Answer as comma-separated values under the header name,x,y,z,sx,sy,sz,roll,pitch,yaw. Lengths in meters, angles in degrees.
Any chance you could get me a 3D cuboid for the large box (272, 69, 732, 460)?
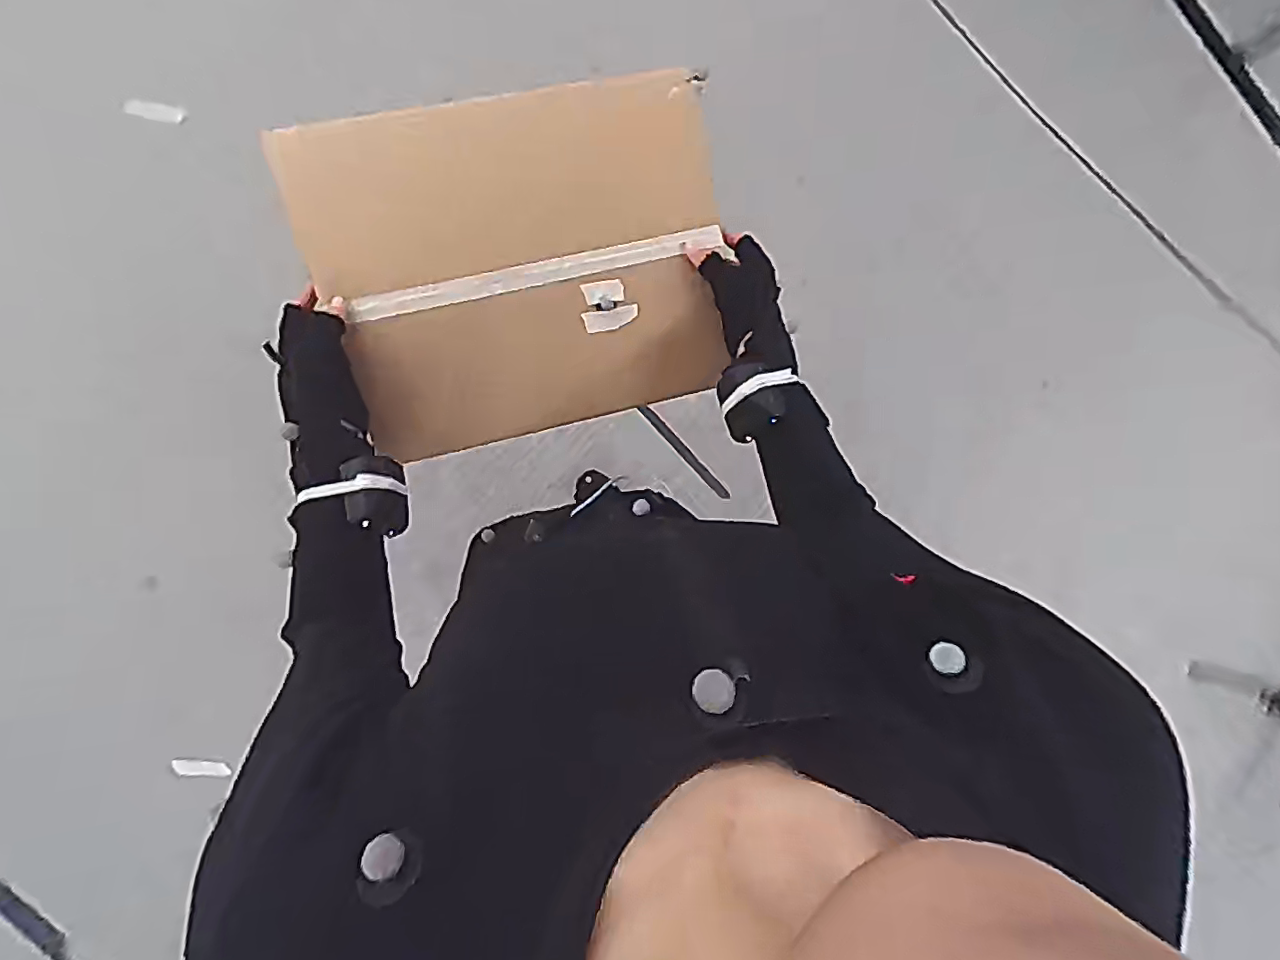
name,x,y,z,sx,sy,sz,roll,pitch,yaw
large box,-0.147,-0.251,0.699,0.408,0.320,0.320,-16,108,-9
